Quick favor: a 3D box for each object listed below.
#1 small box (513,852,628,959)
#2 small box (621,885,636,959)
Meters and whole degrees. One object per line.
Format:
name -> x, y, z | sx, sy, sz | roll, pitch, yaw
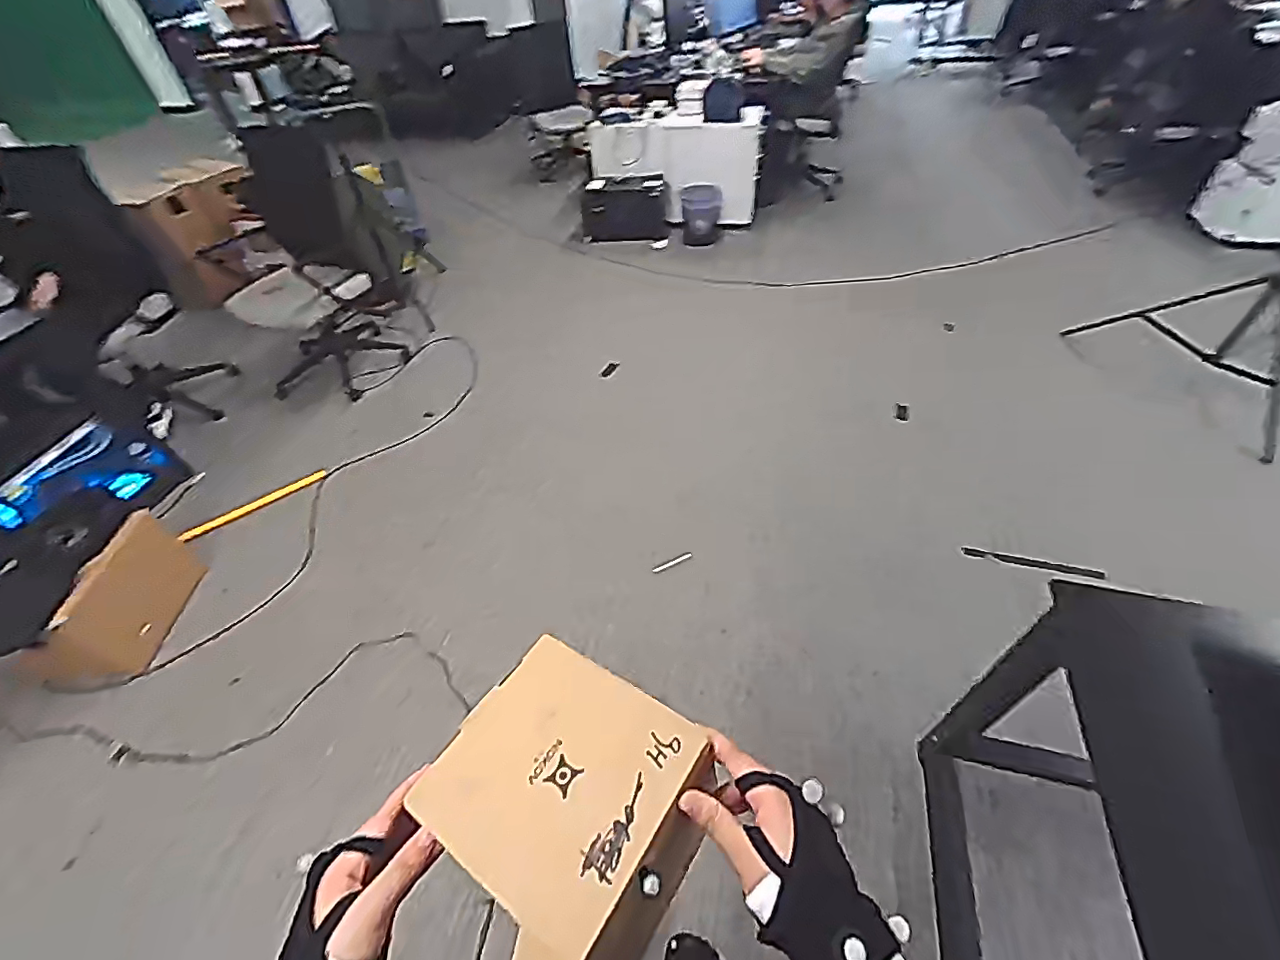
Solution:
small box -> -0.116, 0.807, 0.981 | 0.168, 0.176, 0.179 | 3, 45, 7
small box -> -0.104, 0.923, 1.093 | 0.168, 0.176, 0.179 | 5, 48, 10
